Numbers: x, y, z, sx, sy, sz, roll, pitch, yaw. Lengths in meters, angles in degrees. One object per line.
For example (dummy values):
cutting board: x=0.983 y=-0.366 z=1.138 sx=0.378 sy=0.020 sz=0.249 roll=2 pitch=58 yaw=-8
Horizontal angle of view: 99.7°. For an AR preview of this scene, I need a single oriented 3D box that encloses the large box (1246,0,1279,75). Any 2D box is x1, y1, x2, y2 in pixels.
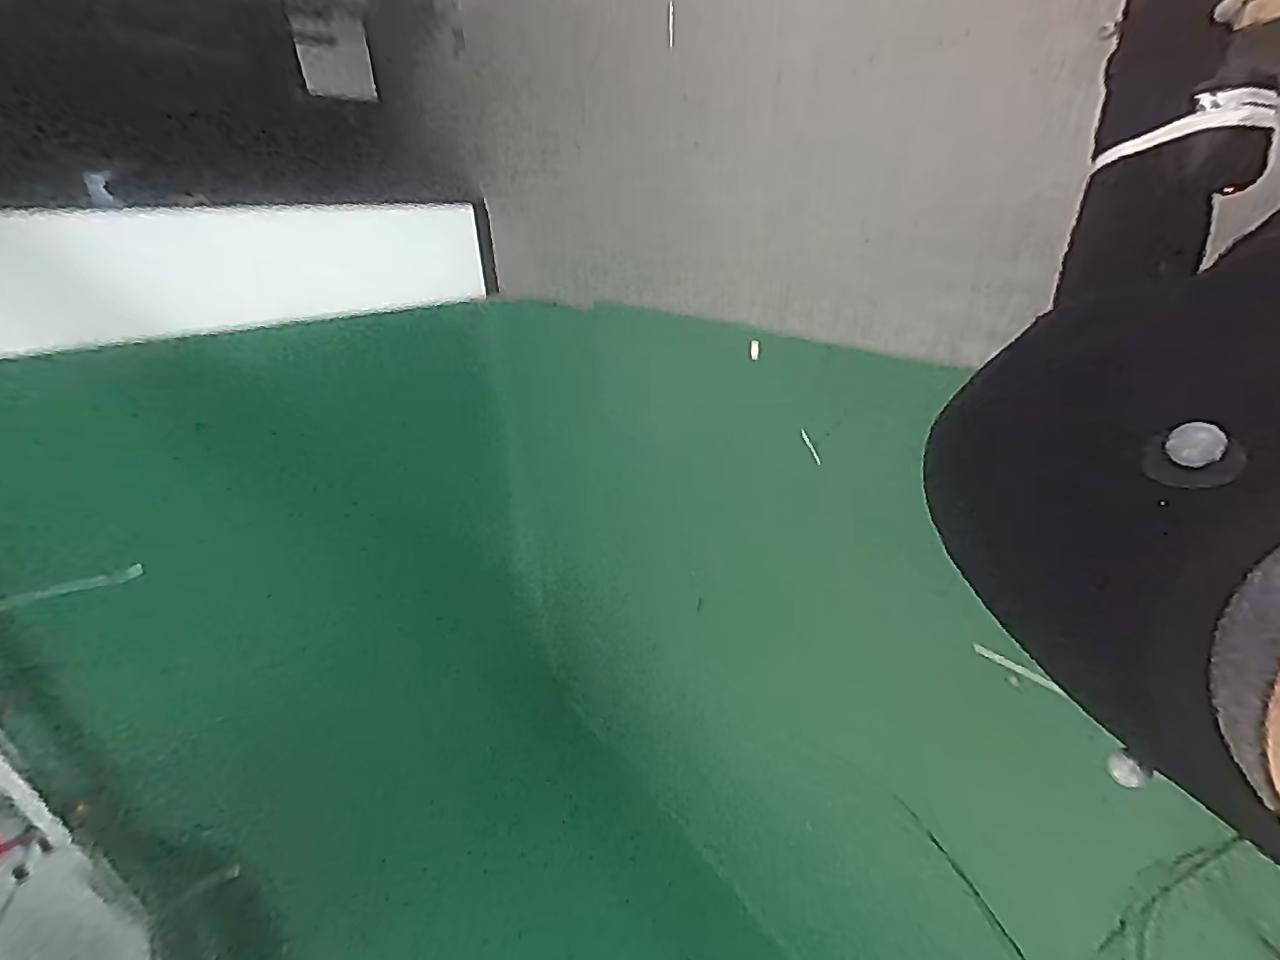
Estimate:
large box: x=0.623 y=-0.470 z=0.259 sx=0.408 sy=0.320 sz=0.320 roll=12 pitch=115 yaw=45
